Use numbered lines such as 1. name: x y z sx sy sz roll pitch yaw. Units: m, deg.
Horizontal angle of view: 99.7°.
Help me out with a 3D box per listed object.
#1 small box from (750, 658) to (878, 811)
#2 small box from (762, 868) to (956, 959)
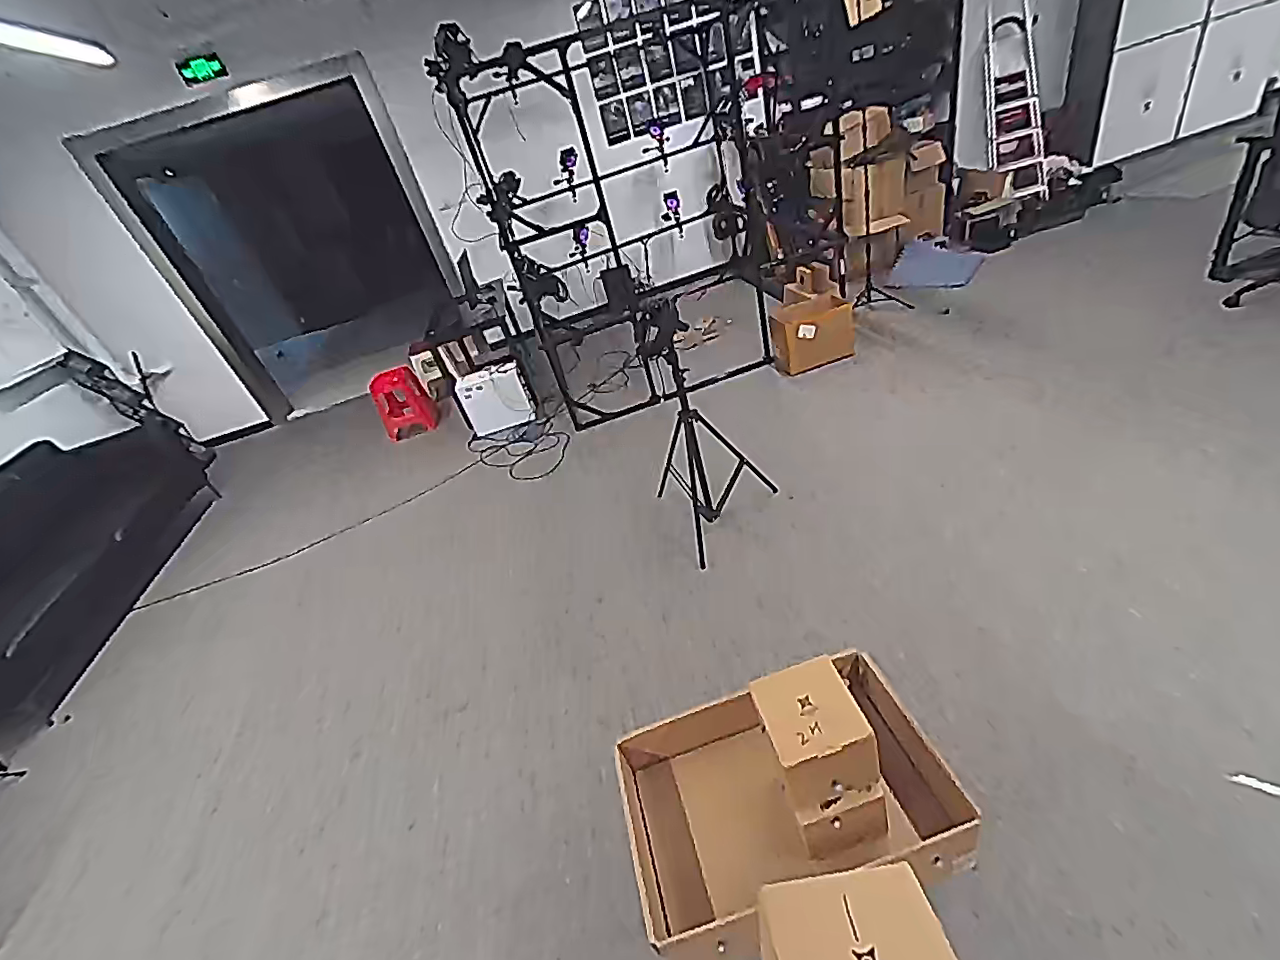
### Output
1. small box: 0.324 0.475 1.013 0.168 0.176 0.179 -21 34 1
2. small box: 0.225 0.531 0.530 0.168 0.176 0.179 -8 25 0
